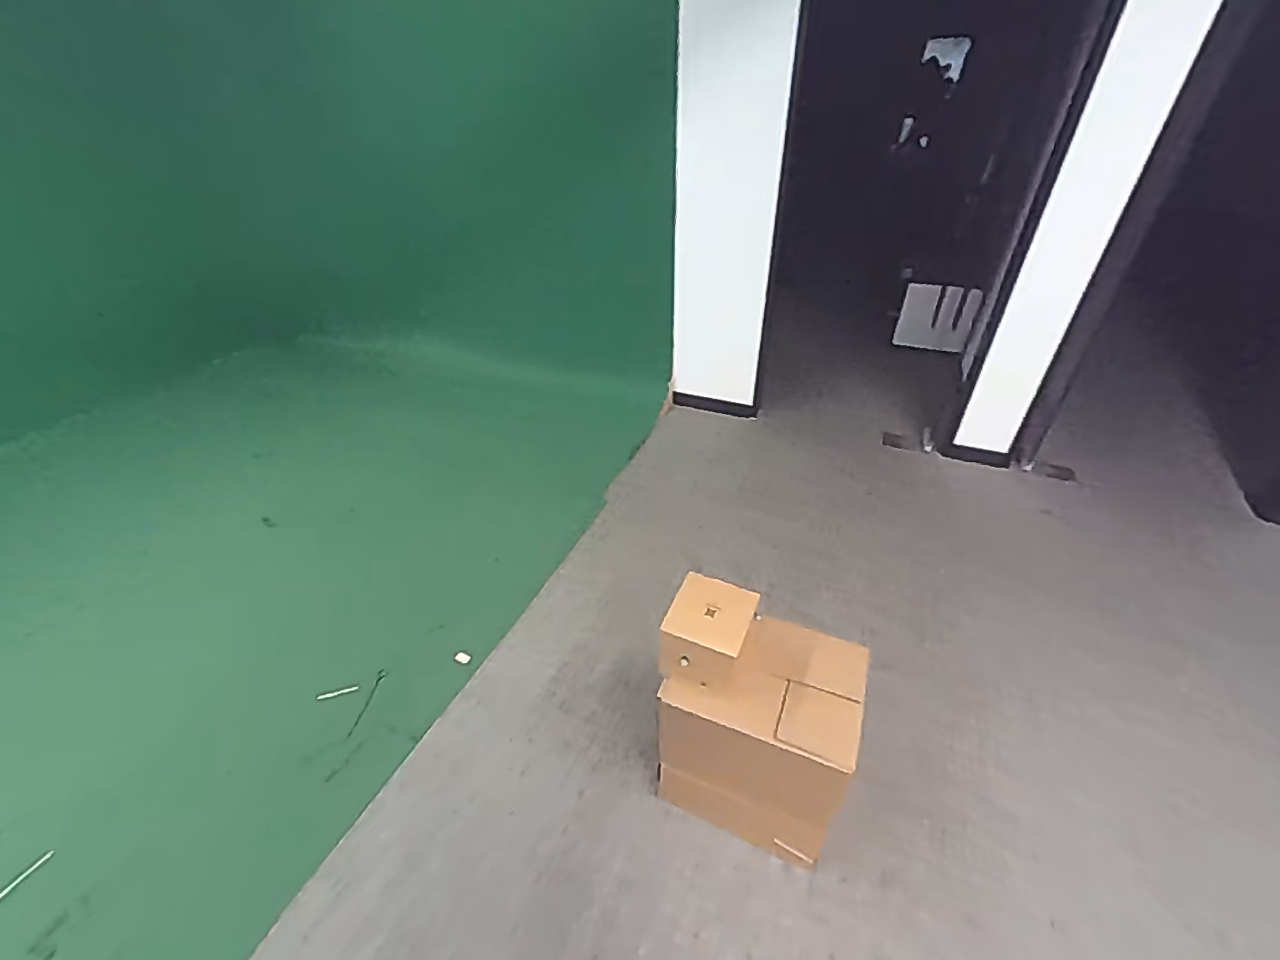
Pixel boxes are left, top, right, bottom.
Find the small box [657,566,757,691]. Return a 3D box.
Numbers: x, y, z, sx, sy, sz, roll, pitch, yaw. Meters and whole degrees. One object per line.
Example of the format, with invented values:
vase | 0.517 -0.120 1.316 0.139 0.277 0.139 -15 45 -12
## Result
small box | 0.146 0.326 1.183 0.168 0.176 0.179 17 42 19
